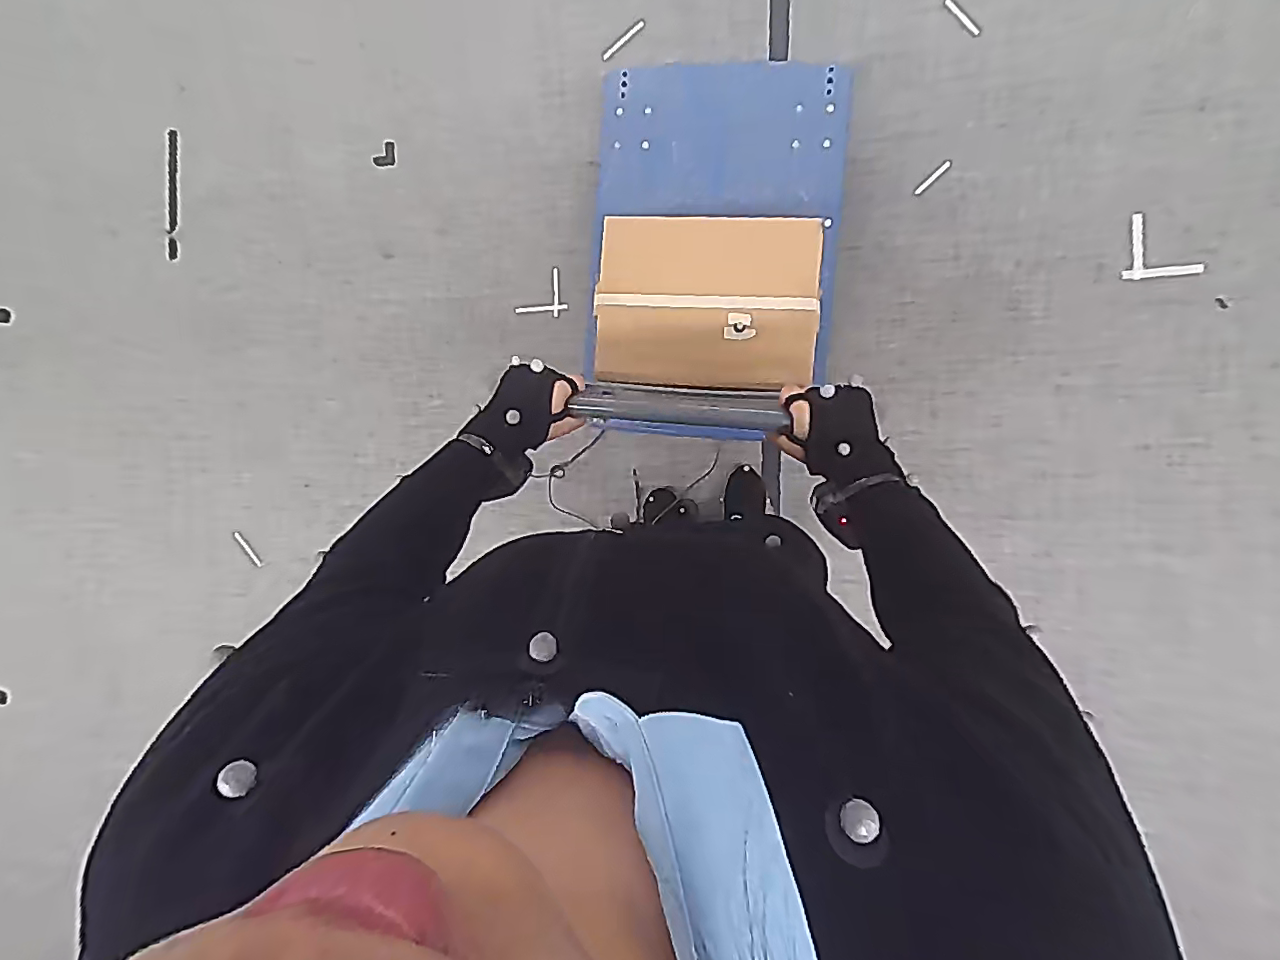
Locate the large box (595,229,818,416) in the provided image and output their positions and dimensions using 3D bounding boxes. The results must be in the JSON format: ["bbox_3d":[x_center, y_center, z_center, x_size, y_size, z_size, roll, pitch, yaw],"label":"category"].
[{"bbox_3d":[0.133,-0.310,1.144,0.408,0.320,0.320,4,92,7],"label":"large box"}]
